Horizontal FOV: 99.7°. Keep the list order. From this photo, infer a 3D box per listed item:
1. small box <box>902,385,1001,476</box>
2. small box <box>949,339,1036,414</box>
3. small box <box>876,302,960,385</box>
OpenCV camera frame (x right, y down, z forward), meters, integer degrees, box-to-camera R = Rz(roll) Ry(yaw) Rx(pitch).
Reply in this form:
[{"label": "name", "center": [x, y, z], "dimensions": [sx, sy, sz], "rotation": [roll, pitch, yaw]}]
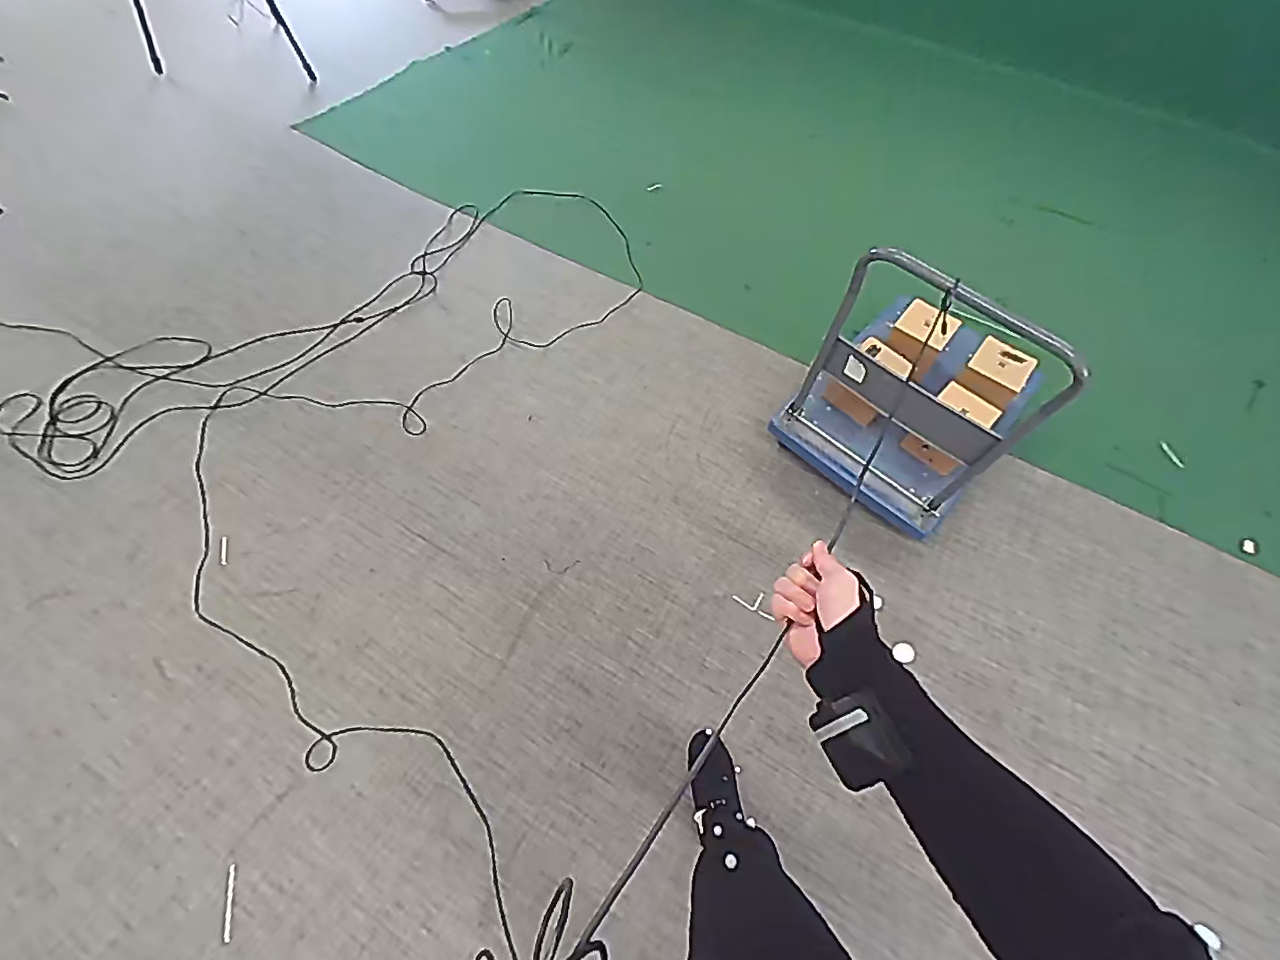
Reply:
[{"label": "small box", "center": [0.932, -0.147, 1.636], "dimensions": [0.168, 0.176, 0.179], "rotation": [41, 66, 19]}, {"label": "small box", "center": [1.119, -0.312, 1.742], "dimensions": [0.168, 0.176, 0.179], "rotation": [36, 65, 18]}, {"label": "small box", "center": [0.925, -0.454, 1.817], "dimensions": [0.168, 0.176, 0.179], "rotation": [37, 64, 17]}]
